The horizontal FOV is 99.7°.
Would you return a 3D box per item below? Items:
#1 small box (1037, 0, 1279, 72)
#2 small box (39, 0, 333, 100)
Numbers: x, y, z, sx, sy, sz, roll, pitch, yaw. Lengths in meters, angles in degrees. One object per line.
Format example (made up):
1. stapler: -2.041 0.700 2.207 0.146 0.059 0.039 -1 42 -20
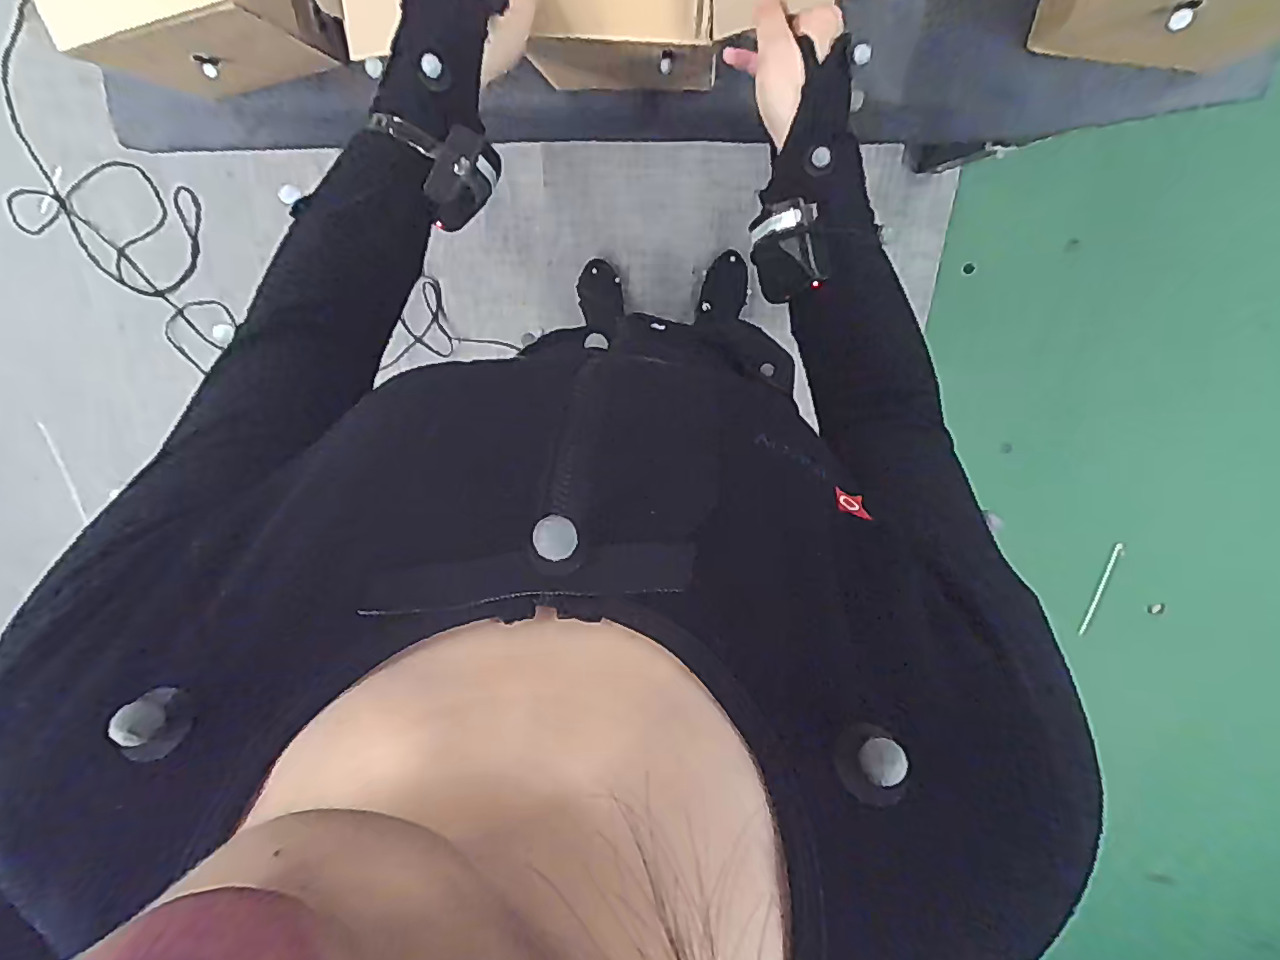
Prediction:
1. small box: 0.471 -0.457 0.430 0.179 0.176 0.168 8 109 3
2. small box: -0.423 -0.483 0.501 0.179 0.176 0.168 -8 113 9
